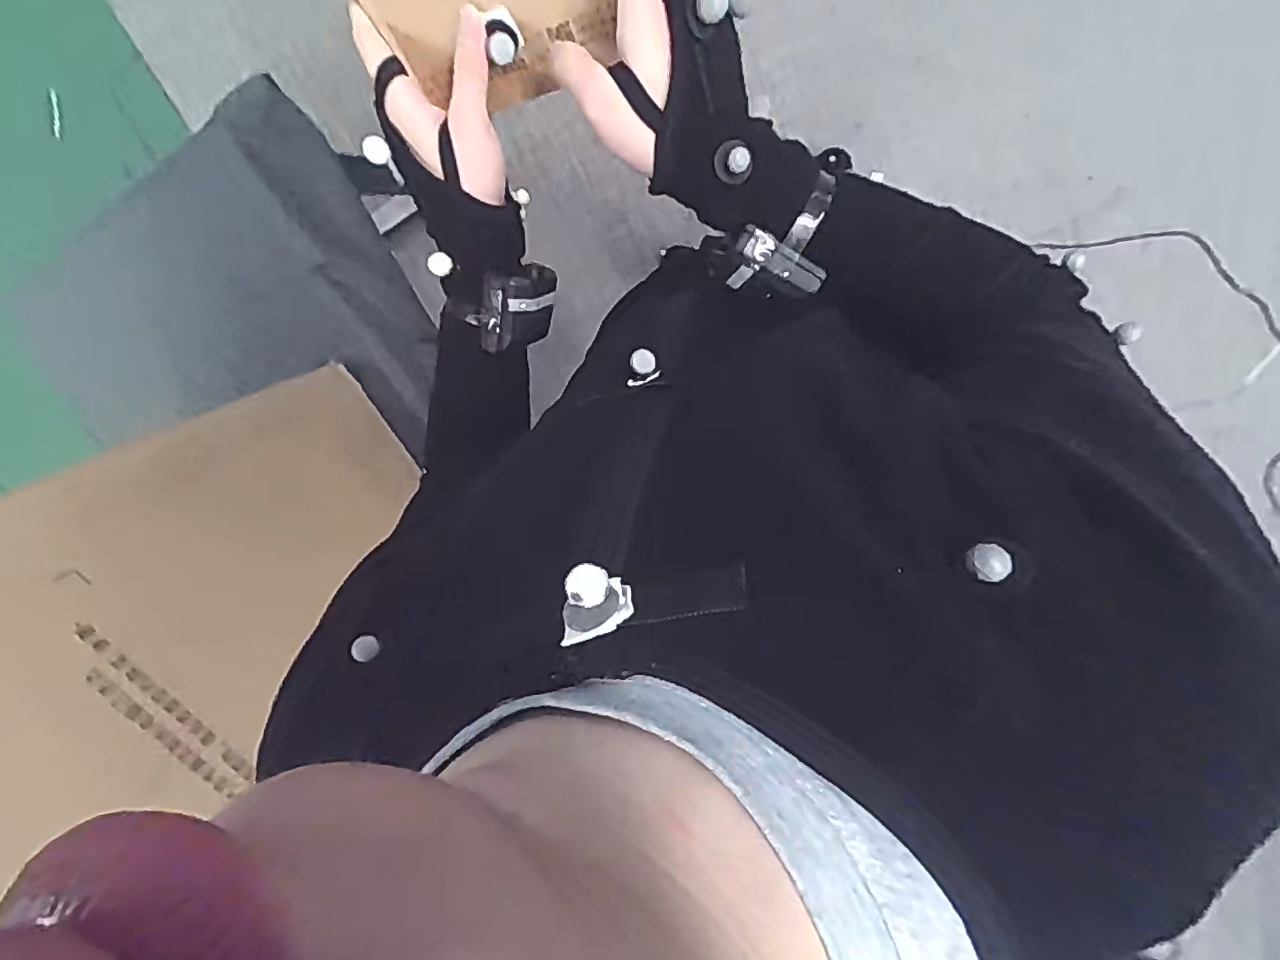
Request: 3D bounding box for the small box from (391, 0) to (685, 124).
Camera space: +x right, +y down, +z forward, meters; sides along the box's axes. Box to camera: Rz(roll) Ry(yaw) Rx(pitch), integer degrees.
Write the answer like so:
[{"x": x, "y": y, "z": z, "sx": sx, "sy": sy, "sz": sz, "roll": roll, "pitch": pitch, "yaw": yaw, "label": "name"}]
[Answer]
[{"x": -0.072, "y": -0.361, "z": 0.320, "sx": 0.168, "sy": 0.179, "sz": 0.176, "roll": -7, "pitch": 152, "yaw": 20, "label": "small box"}]
